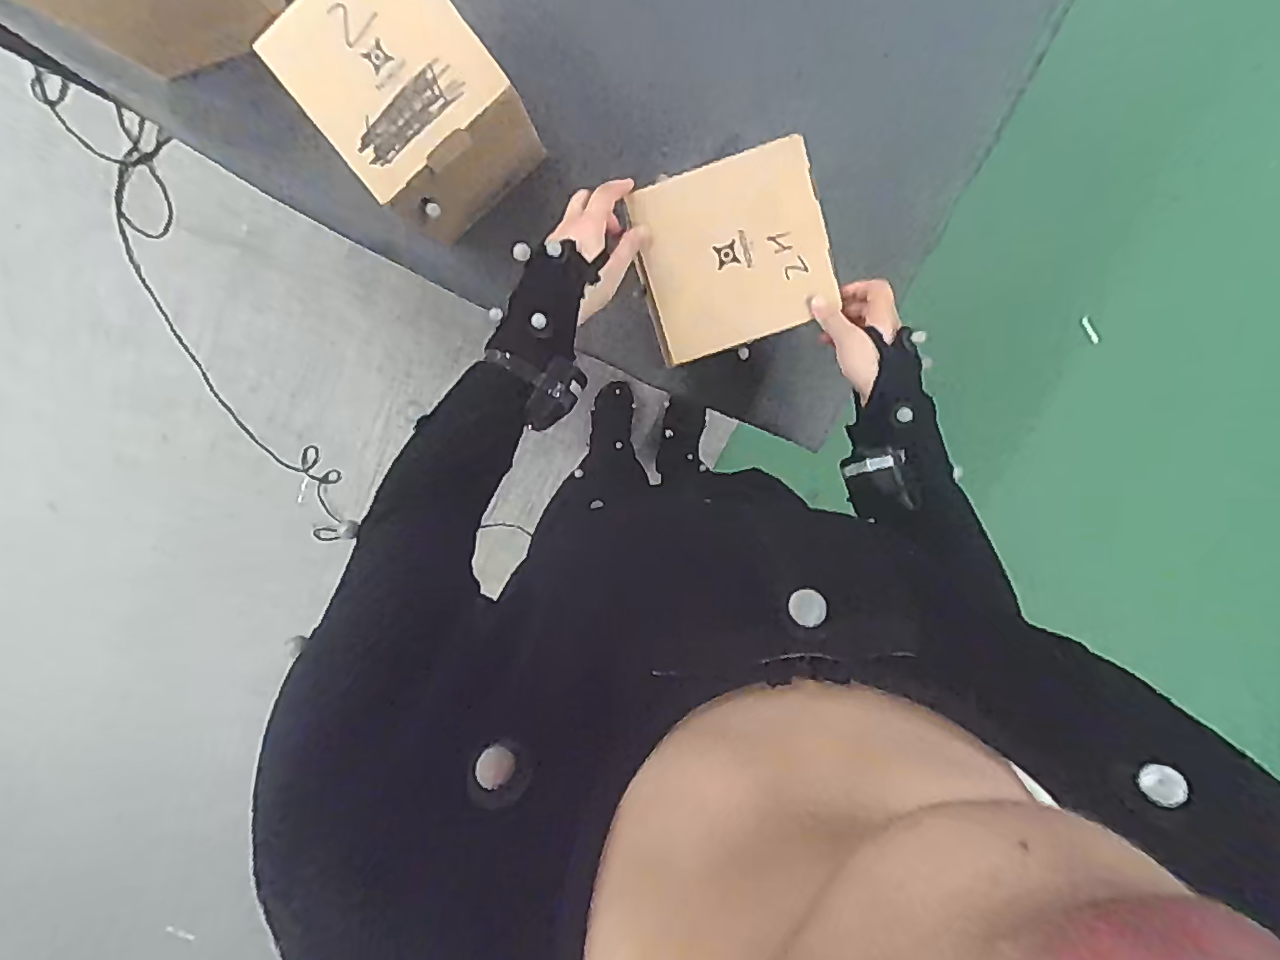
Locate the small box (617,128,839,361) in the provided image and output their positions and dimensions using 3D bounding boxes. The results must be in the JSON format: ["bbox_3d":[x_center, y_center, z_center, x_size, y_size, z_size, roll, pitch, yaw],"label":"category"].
[{"bbox_3d":[0.085,-0.230,0.581,0.179,0.176,0.168,-17,101,3],"label":"small box"}]

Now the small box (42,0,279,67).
[{"bbox_3d":[-0.510,-0.552,0.526,0.179,0.176,0.168,-15,102,5],"label":"small box"}]

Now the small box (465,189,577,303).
[{"bbox_3d":[-0.270,-0.536,1.271,0.168,0.176,0.179,-43,97,9],"label":"small box"}]

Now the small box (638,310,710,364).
[{"bbox_3d":[0.111,-0.392,1.294,0.179,0.176,0.168,31,102,-7],"label":"small box"}]

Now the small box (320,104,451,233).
[{"bbox_3d":[-0.574,-0.699,1.240,0.179,0.176,0.168,38,101,-6],"label":"small box"}]
